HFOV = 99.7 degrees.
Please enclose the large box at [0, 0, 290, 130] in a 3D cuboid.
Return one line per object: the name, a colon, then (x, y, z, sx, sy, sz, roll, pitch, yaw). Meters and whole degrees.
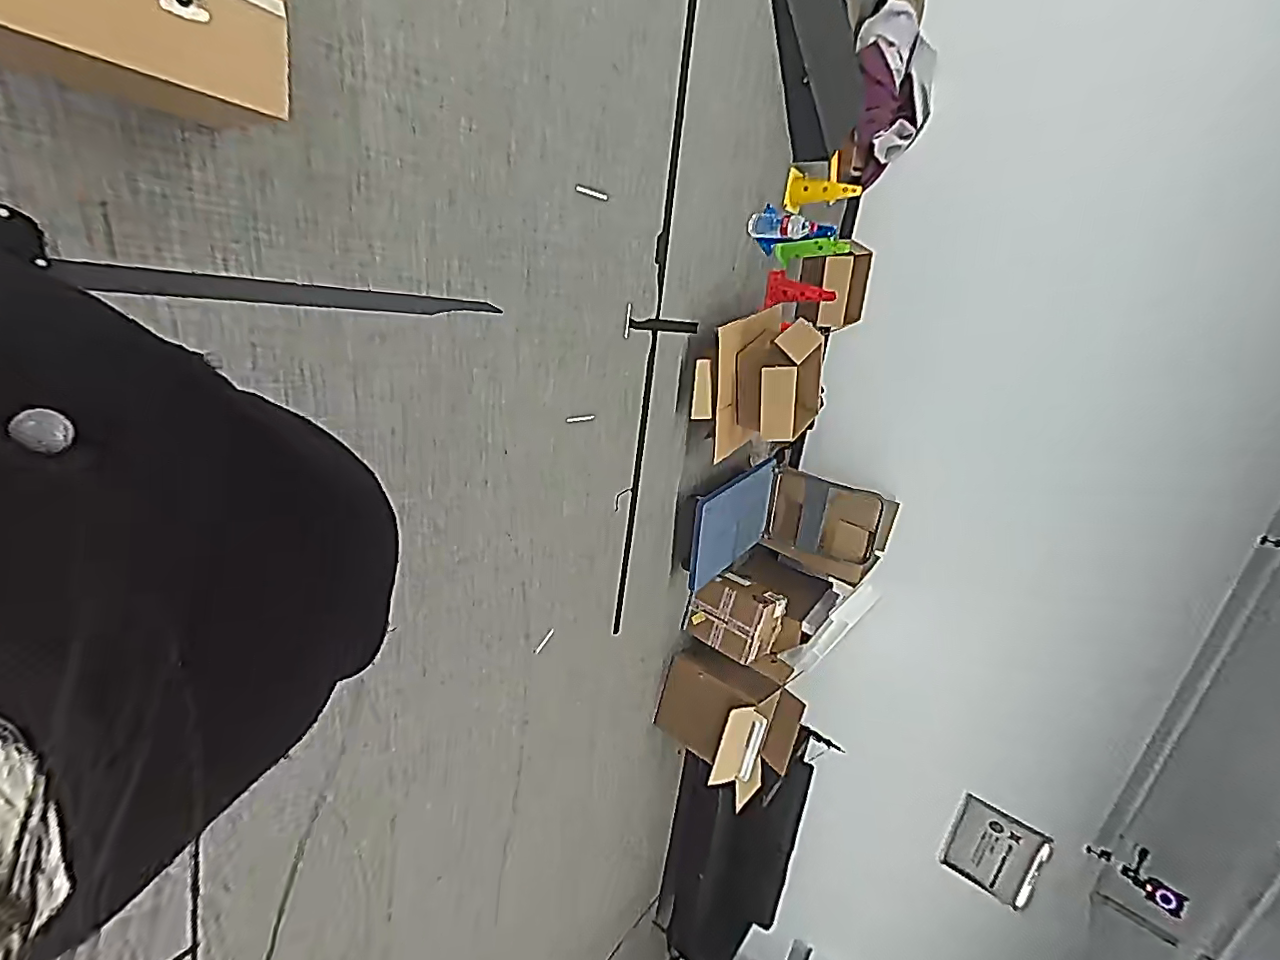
large box: (-0.818, -0.774, 0.809, 0.408, 0.320, 0.320, -14, 118, -52)
